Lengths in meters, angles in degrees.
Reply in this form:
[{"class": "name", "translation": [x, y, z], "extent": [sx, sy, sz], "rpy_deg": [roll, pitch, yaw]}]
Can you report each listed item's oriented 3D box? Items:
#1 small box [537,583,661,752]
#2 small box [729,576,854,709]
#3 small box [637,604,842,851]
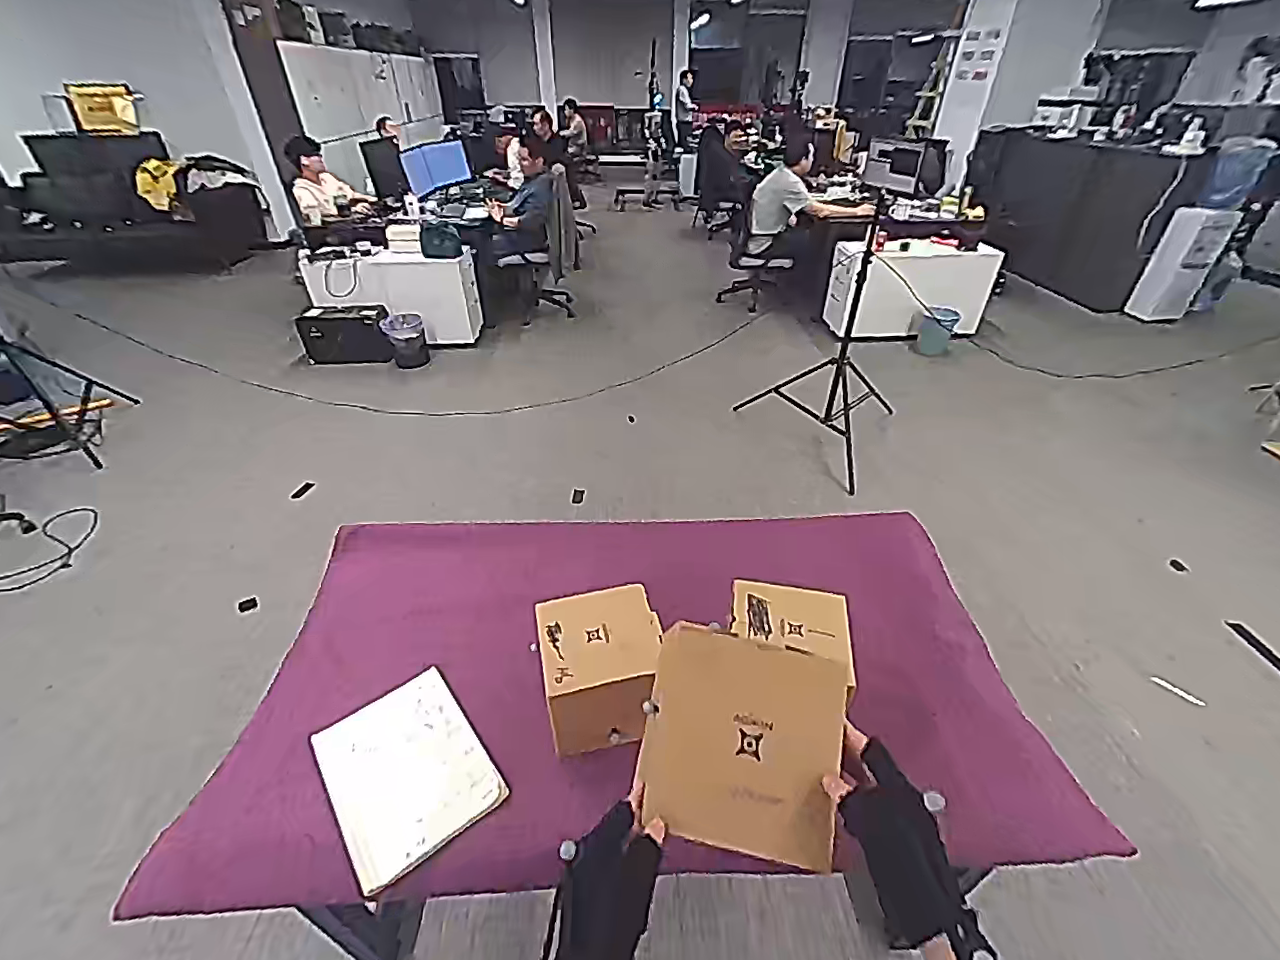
[{"class": "small box", "translation": [-0.059, 0.288, 0.838], "extent": [0.179, 0.176, 0.168], "rpy_deg": [-8, 36, -12]}, {"class": "small box", "translation": [0.220, 0.278, 0.845], "extent": [0.179, 0.176, 0.168], "rpy_deg": [8, 36, 10]}, {"class": "small box", "translation": [0.092, 0.243, 0.559], "extent": [0.168, 0.176, 0.179], "rpy_deg": [12, 69, 3]}]
